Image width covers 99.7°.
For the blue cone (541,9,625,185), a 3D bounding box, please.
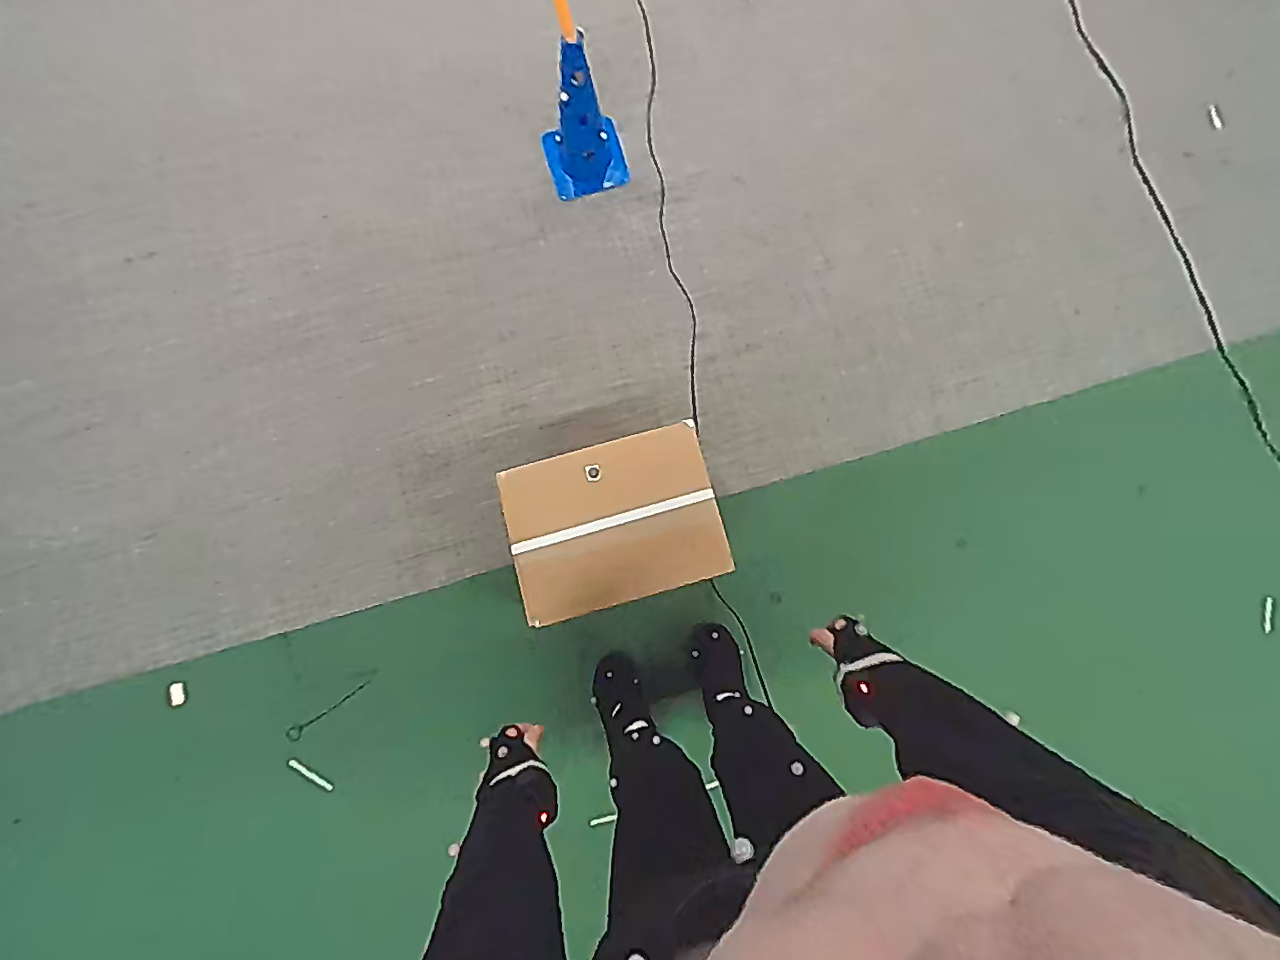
[{"bbox_3d":[-0.148,-0.882,1.242,0.193,0.380,0.192,-20,85,-1],"label":"blue cone"}]
